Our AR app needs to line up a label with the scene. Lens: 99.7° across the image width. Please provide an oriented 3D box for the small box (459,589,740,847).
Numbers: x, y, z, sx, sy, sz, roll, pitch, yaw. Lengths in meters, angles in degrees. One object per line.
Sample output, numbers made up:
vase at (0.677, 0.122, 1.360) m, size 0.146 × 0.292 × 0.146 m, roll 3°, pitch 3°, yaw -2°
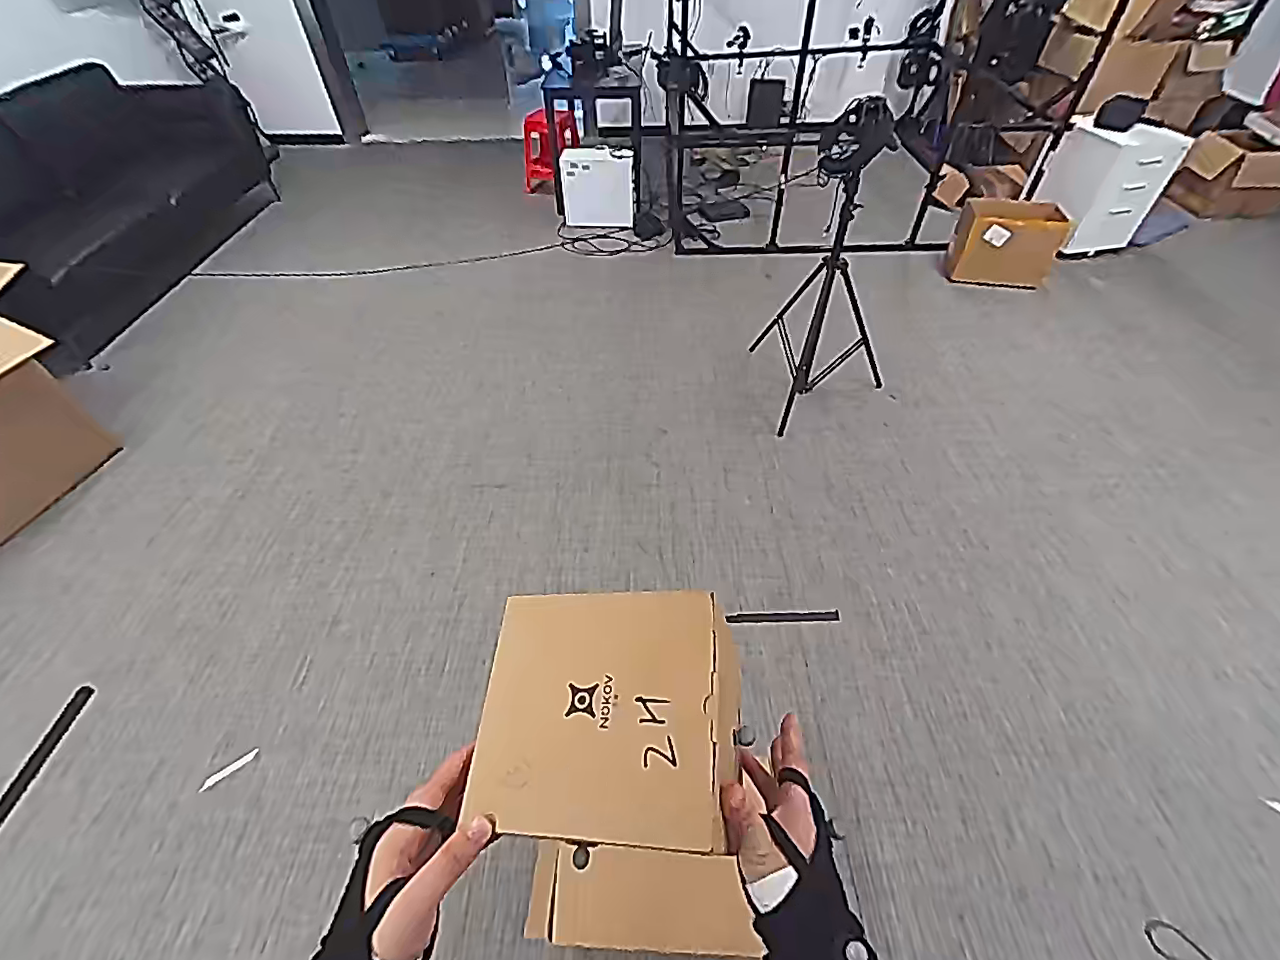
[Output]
small box at (-0.015, 0.202, 0.453) m, size 0.179 × 0.176 × 0.168 m, roll -5°, pitch 56°, yaw 14°
